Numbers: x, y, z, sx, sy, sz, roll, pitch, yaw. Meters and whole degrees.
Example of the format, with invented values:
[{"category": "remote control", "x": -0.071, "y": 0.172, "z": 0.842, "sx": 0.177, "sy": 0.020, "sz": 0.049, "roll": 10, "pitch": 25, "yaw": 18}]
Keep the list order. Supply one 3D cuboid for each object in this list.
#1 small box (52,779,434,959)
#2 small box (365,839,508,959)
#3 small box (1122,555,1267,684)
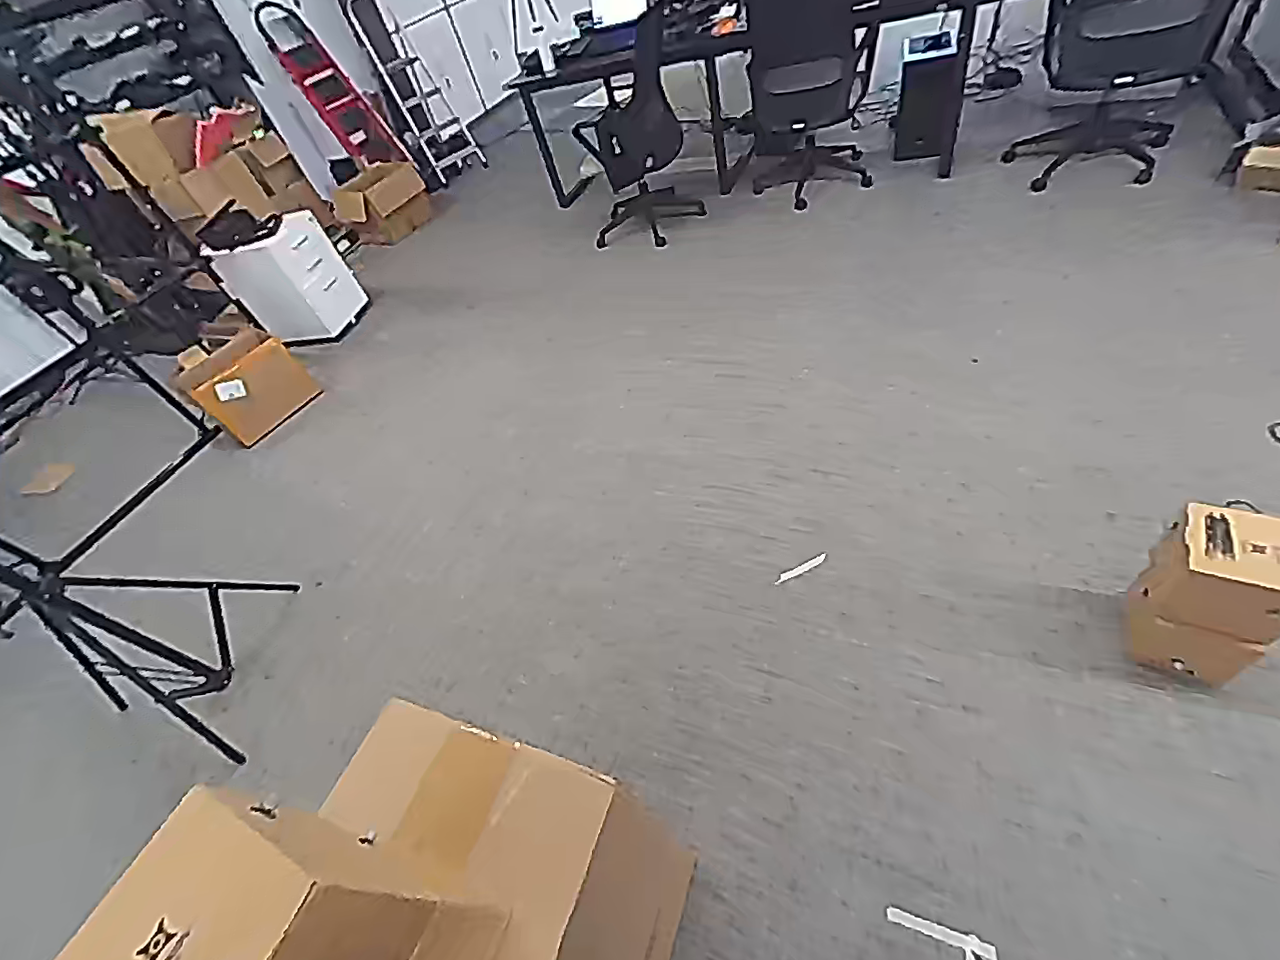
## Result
[{"category": "small box", "x": -0.311, "y": 0.379, "z": 0.436, "sx": 0.179, "sy": 0.176, "sz": 0.168, "roll": 11, "pitch": 54, "yaw": 26}, {"category": "small box", "x": -0.266, "y": 0.490, "z": 0.551, "sx": 0.179, "sy": 0.176, "sz": 0.168, "roll": 8, "pitch": 52, "yaw": 25}, {"category": "small box", "x": 1.149, "y": 0.293, "z": 1.135, "sx": 0.168, "sy": 0.176, "sz": 0.179, "roll": 14, "pitch": 56, "yaw": 30}]
